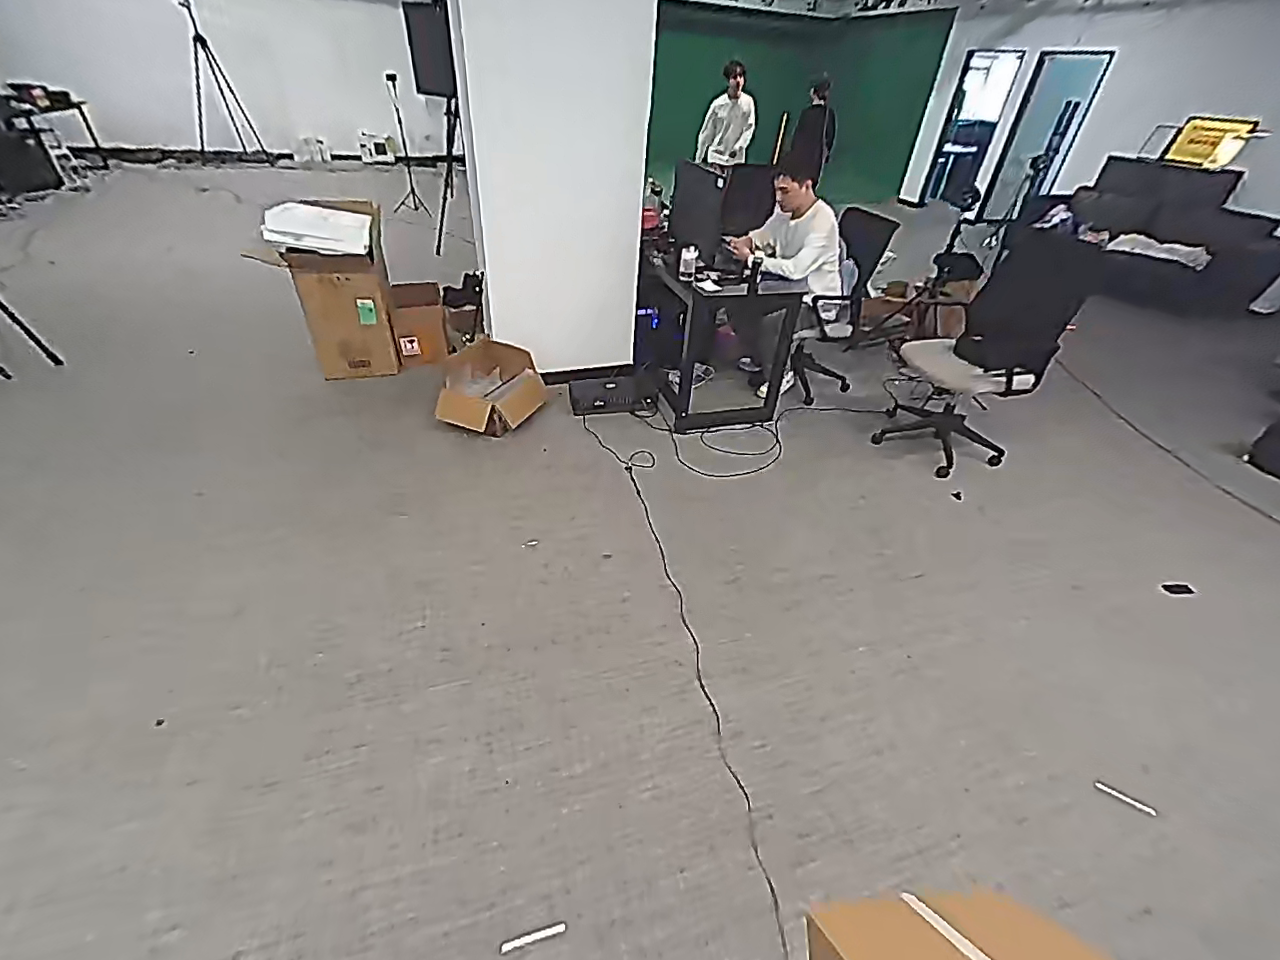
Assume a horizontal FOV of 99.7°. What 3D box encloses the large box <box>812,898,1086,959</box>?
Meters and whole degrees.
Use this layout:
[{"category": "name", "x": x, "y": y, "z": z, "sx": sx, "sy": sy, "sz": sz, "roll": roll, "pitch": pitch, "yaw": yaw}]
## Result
[{"category": "large box", "x": 0.423, "y": 0.740, "z": 0.590, "sx": 0.320, "sy": 0.408, "sz": 0.320, "roll": 1, "pitch": 77, "yaw": -6}]
